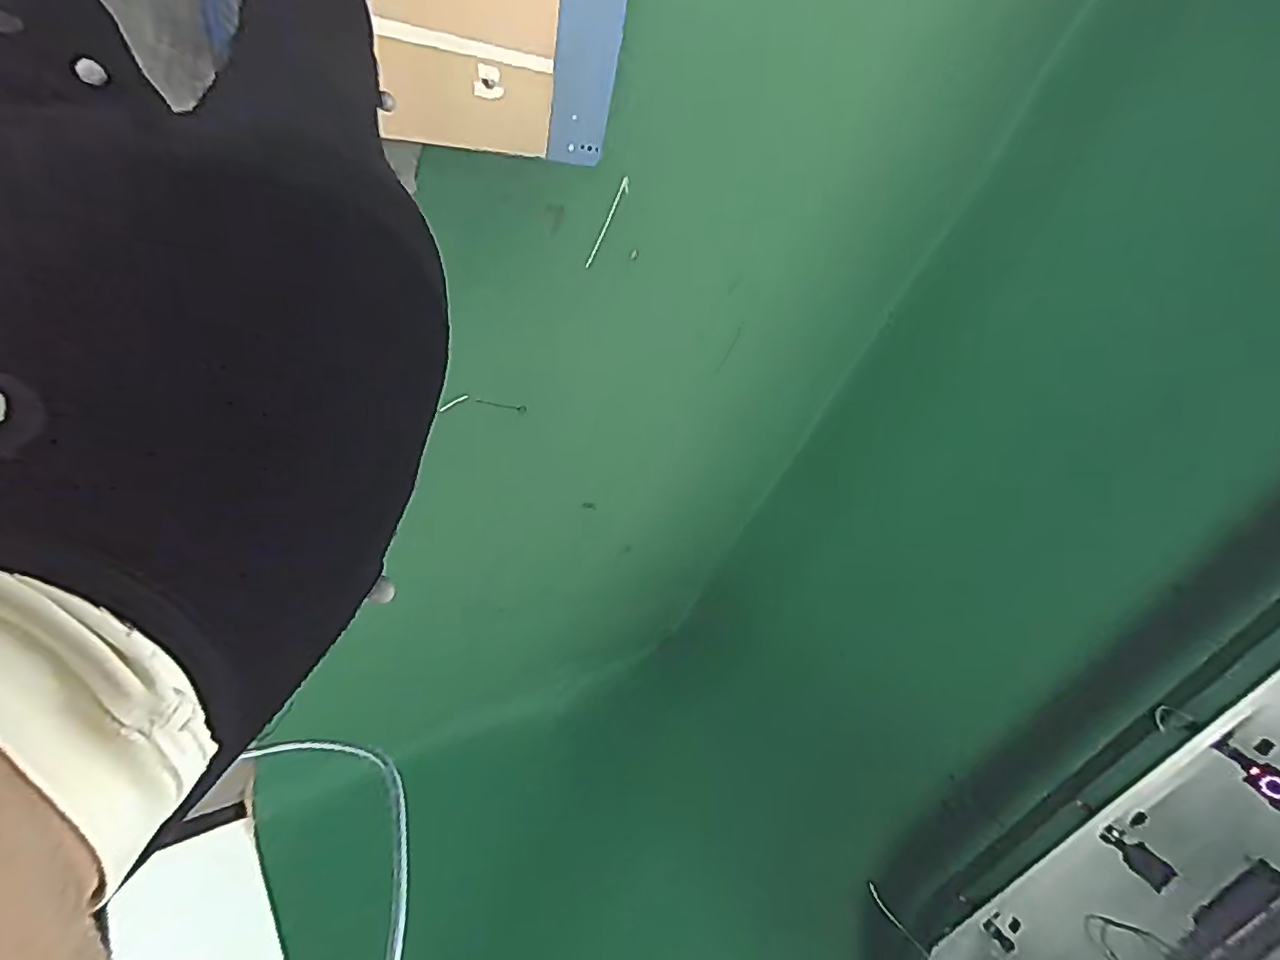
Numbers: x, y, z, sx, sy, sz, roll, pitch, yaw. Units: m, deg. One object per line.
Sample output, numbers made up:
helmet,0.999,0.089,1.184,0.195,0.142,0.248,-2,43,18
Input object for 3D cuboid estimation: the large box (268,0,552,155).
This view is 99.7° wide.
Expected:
large box,-0.422,-0.825,0.994,0.408,0.320,0.320,-18,137,-38
